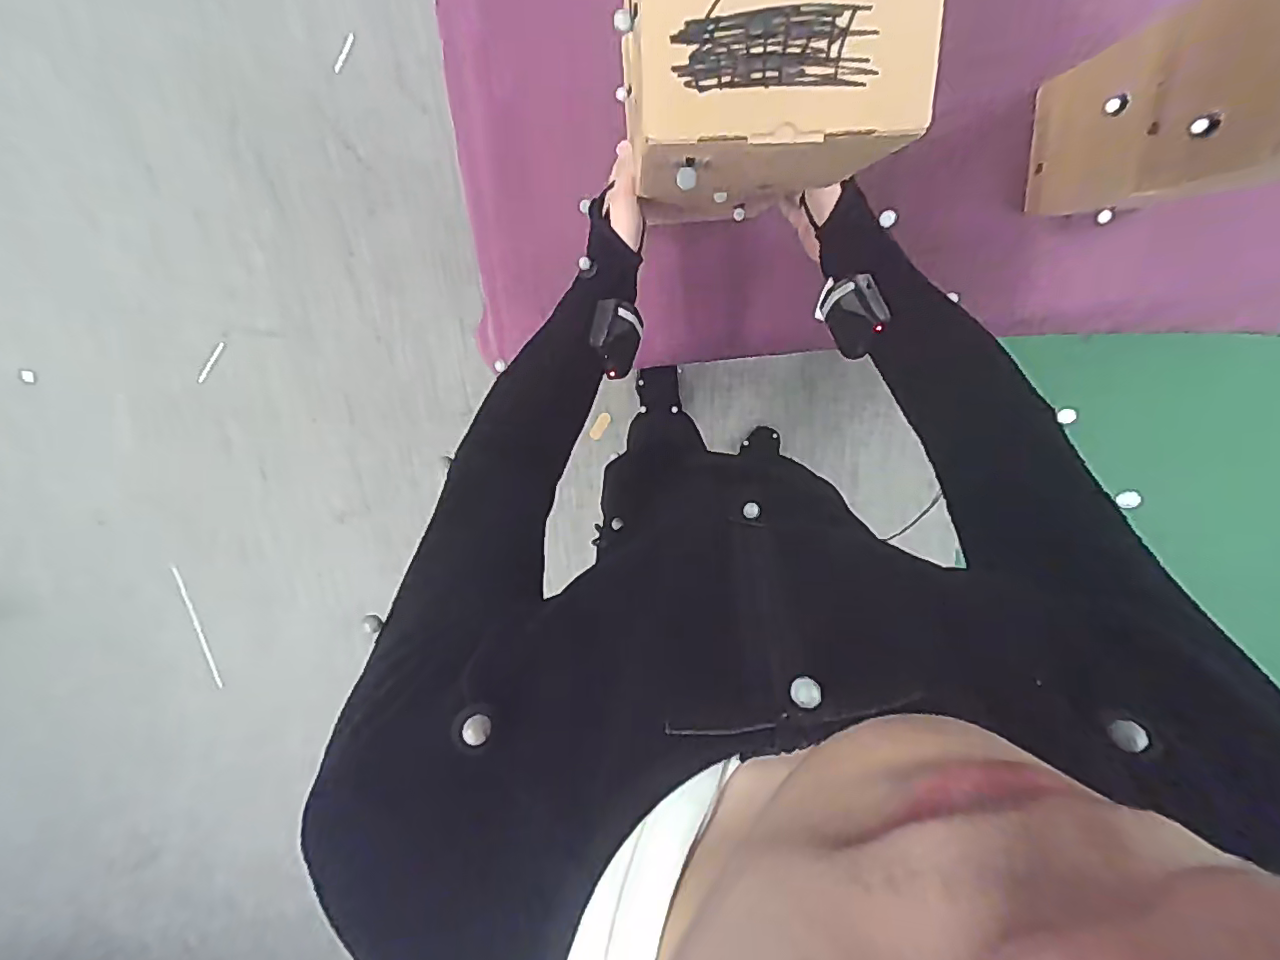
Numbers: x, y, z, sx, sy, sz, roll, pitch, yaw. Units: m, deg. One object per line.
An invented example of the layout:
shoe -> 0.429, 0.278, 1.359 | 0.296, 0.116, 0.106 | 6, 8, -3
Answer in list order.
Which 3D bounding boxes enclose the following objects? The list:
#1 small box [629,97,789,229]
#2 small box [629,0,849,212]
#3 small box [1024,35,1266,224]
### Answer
small box -> 0.079, -0.414, 0.671 | 0.179, 0.176, 0.168 | -4, 108, 0
small box -> 0.081, -0.362, 0.519 | 0.179, 0.176, 0.168 | -4, 109, 1
small box -> 0.632, -0.426, 0.676 | 0.179, 0.176, 0.168 | -5, 107, 1
